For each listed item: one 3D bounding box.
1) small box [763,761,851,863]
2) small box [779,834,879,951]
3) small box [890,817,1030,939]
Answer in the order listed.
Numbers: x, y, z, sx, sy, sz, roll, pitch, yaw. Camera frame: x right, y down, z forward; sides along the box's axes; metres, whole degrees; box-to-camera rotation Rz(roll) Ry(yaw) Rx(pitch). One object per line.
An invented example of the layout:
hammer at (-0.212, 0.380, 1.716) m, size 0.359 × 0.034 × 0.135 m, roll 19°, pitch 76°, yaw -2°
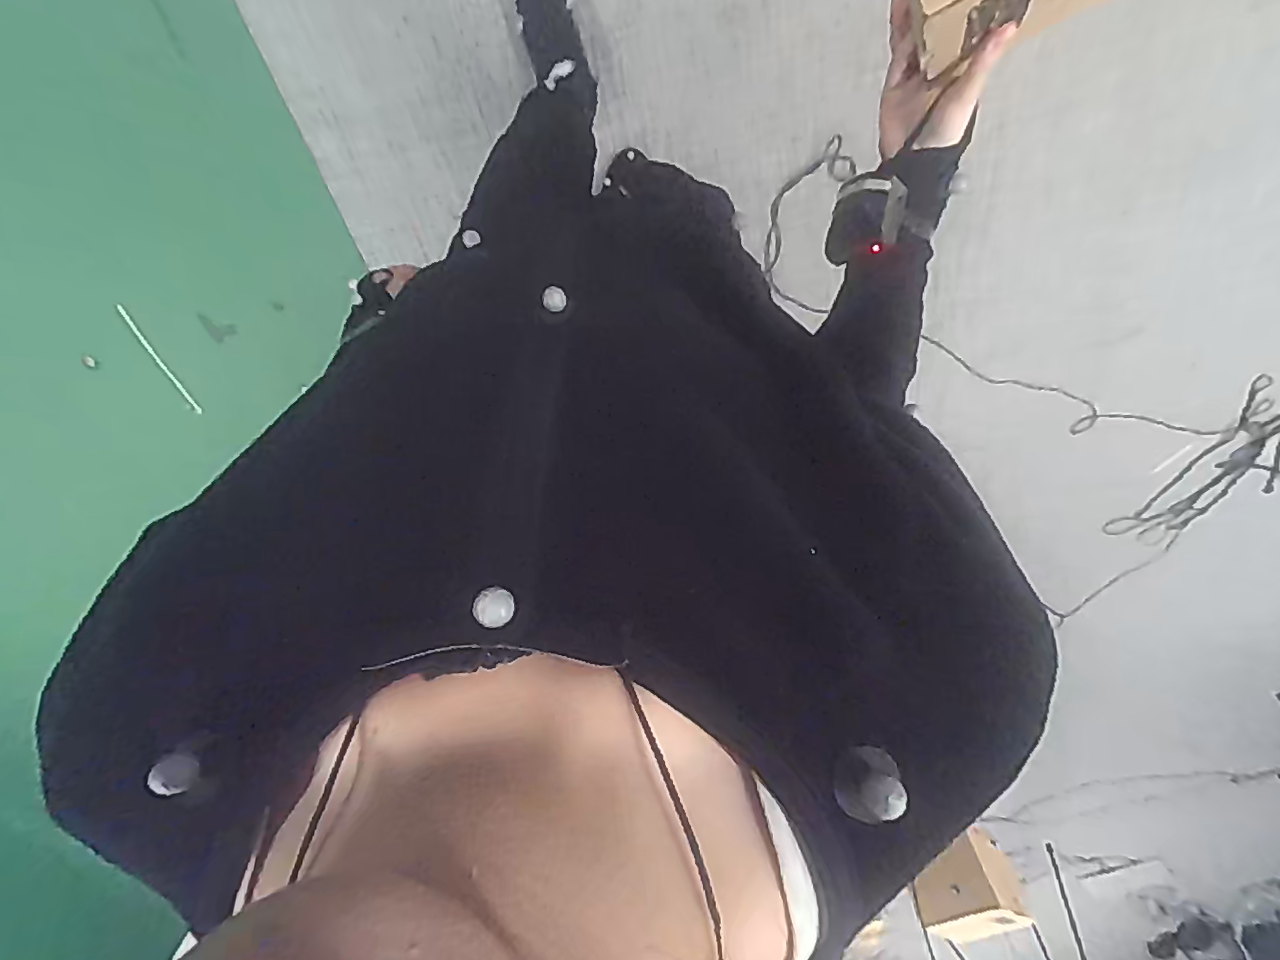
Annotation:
small box at (0.408, 0.830, 1.347) m, size 0.168 × 0.176 × 0.179 m, roll -10°, pitch 126°, yaw 3°
small box at (0.412, 0.912, 1.206) m, size 0.168 × 0.176 × 0.179 m, roll -10°, pitch 127°, yaw 3°
small box at (0.691, 0.868, 1.184) m, size 0.168 × 0.176 × 0.179 m, roll 36°, pitch 118°, yaw -25°
